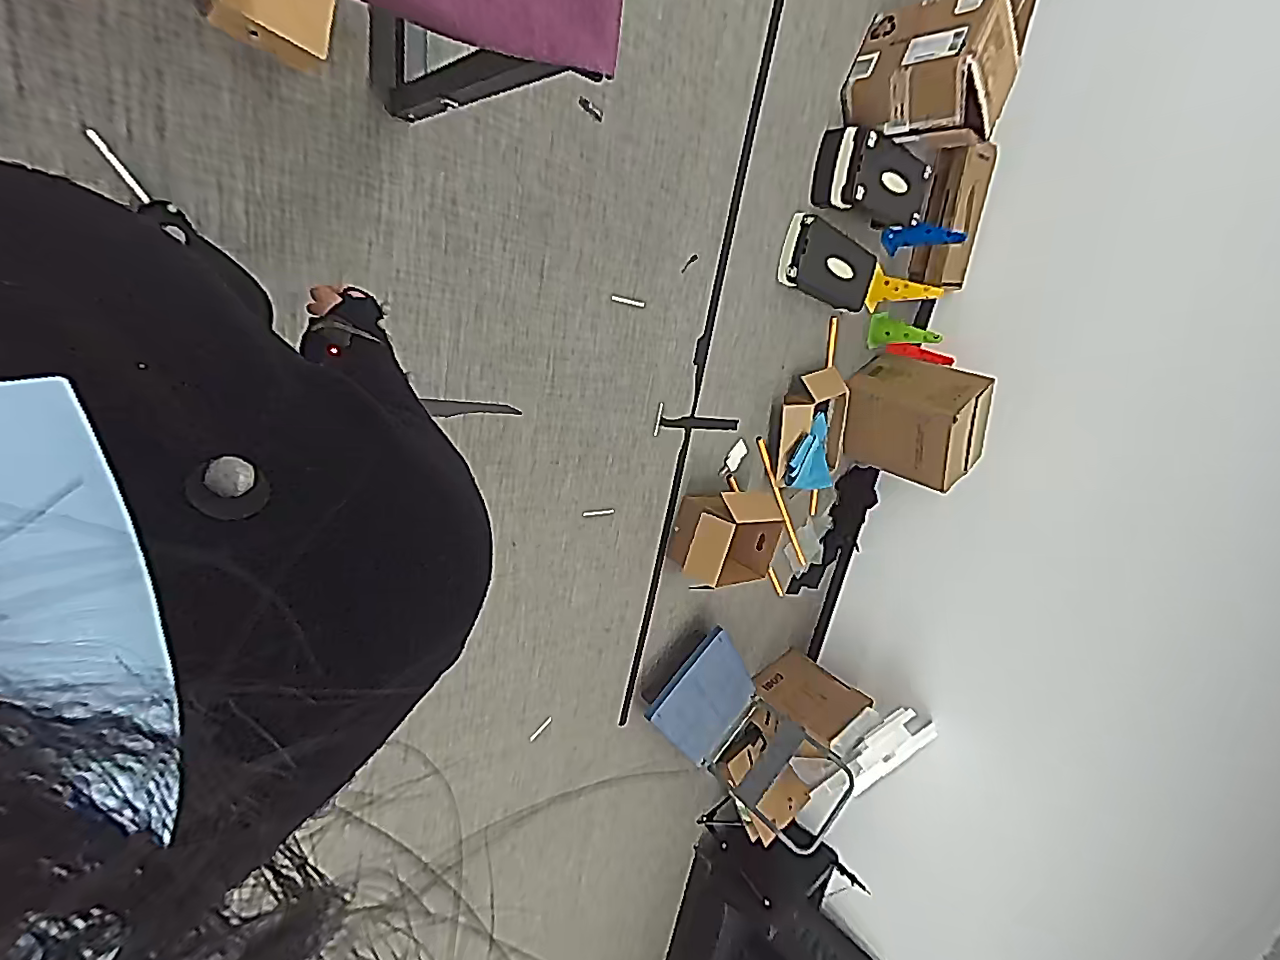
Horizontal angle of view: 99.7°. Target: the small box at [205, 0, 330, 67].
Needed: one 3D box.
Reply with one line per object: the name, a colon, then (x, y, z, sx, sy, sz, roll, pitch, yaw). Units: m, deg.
small box: (-0.684, -0.909, 0.997, 0.168, 0.176, 0.179, 6, 105, -46)
